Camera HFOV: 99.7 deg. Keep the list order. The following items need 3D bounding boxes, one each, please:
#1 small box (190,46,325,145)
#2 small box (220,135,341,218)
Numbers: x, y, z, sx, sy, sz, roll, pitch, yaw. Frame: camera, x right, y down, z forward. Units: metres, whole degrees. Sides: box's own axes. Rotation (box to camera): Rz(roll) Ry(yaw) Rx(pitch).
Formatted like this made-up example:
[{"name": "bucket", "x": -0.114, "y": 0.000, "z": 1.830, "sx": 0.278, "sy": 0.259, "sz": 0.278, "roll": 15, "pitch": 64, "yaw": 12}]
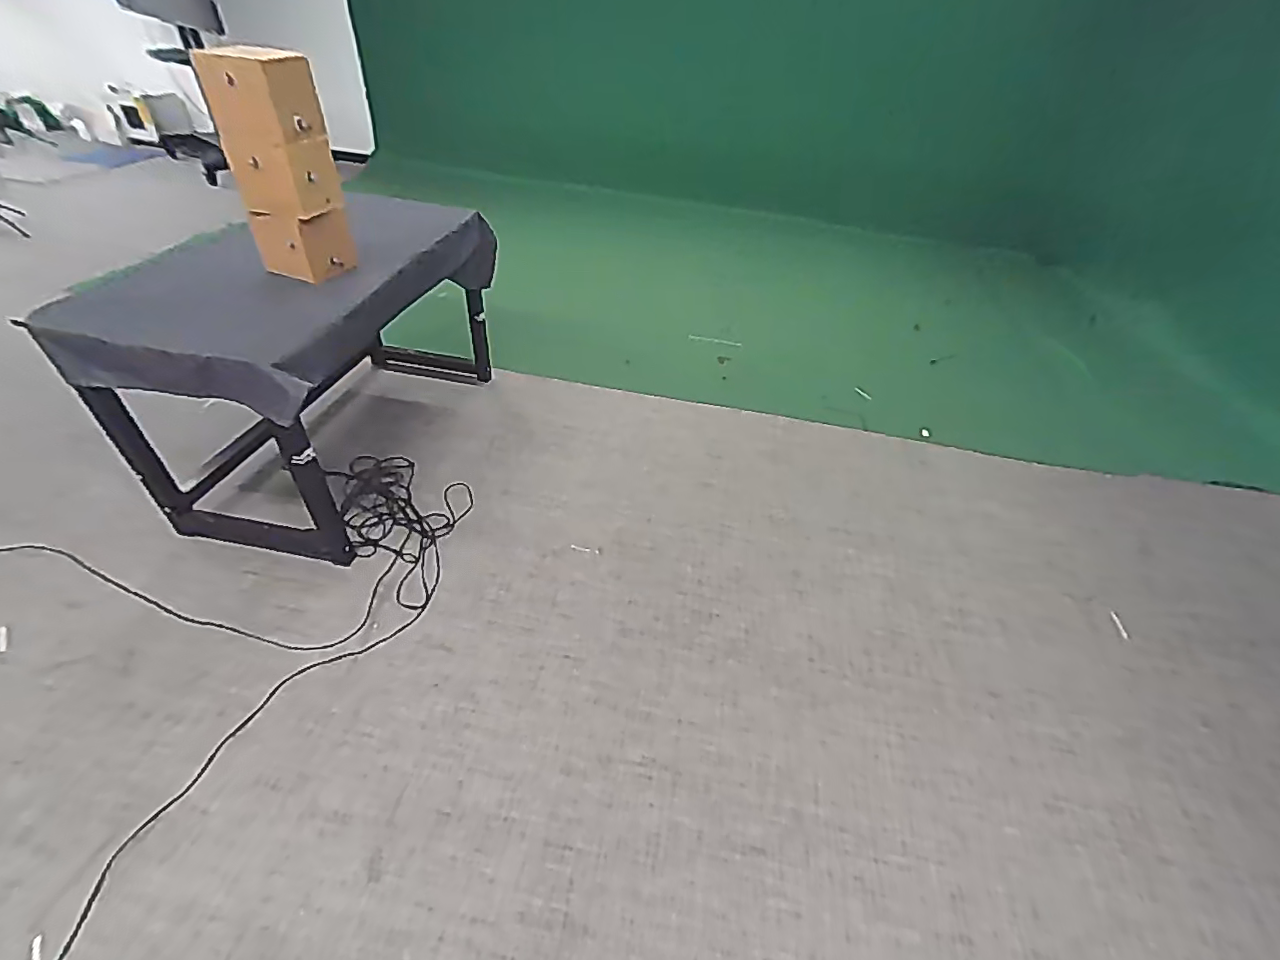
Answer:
[{"name": "small box", "x": -0.900, "y": -0.917, "z": 1.292, "sx": 0.179, "sy": 0.176, "sz": 0.168, "roll": 11, "pitch": 43, "yaw": 4}, {"name": "small box", "x": -0.913, "y": -0.792, "z": 1.395, "sx": 0.179, "sy": 0.176, "sz": 0.168, "roll": 12, "pitch": 42, "yaw": 6}]
